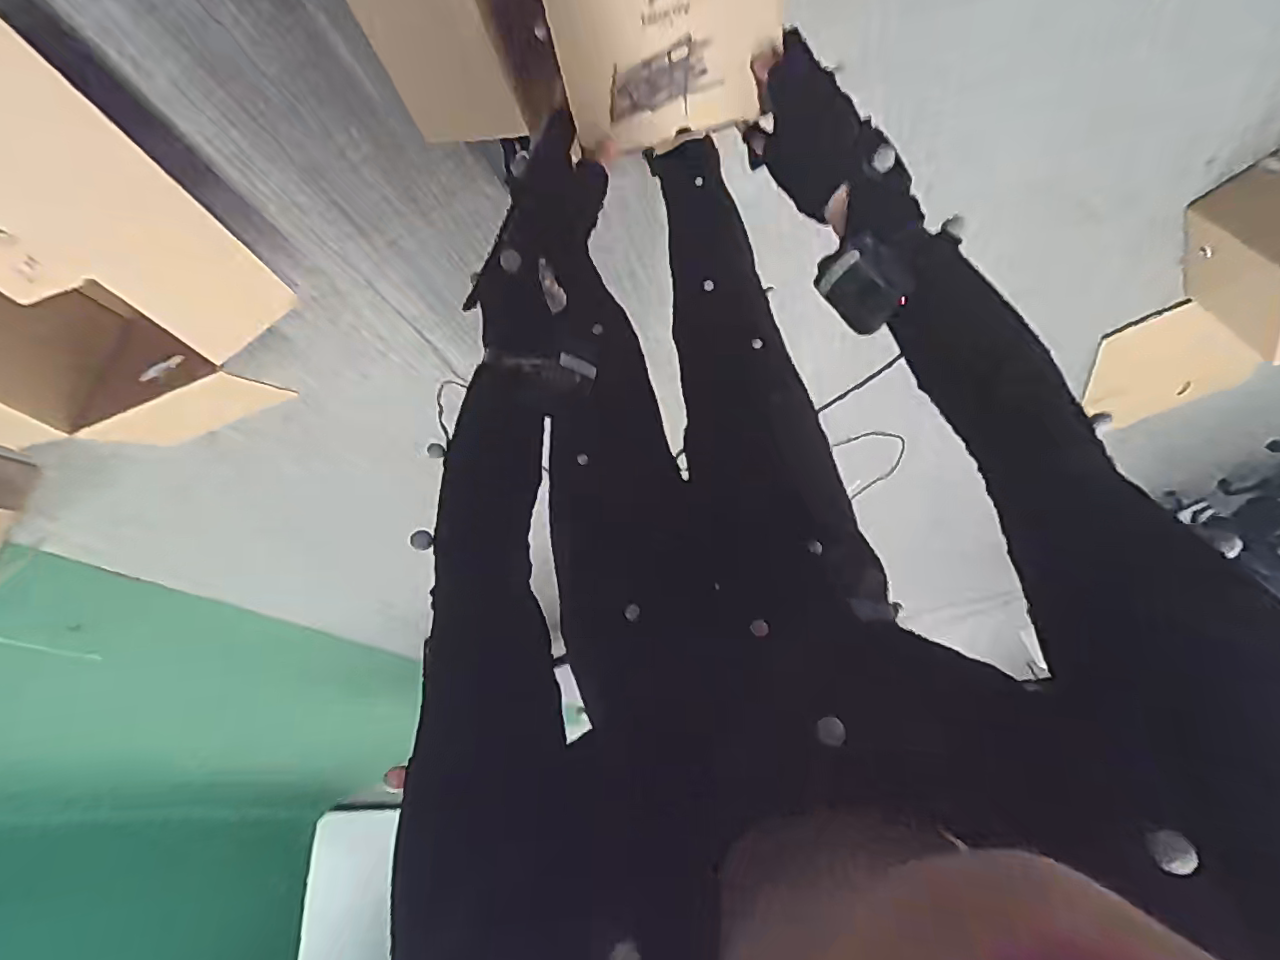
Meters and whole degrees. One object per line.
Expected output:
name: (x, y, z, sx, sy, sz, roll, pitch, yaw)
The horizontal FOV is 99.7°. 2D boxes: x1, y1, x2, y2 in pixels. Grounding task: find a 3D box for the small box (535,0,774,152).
small box: (0.004, -0.396, 0.442, 0.168, 0.176, 0.179, -13, 126, 5)
